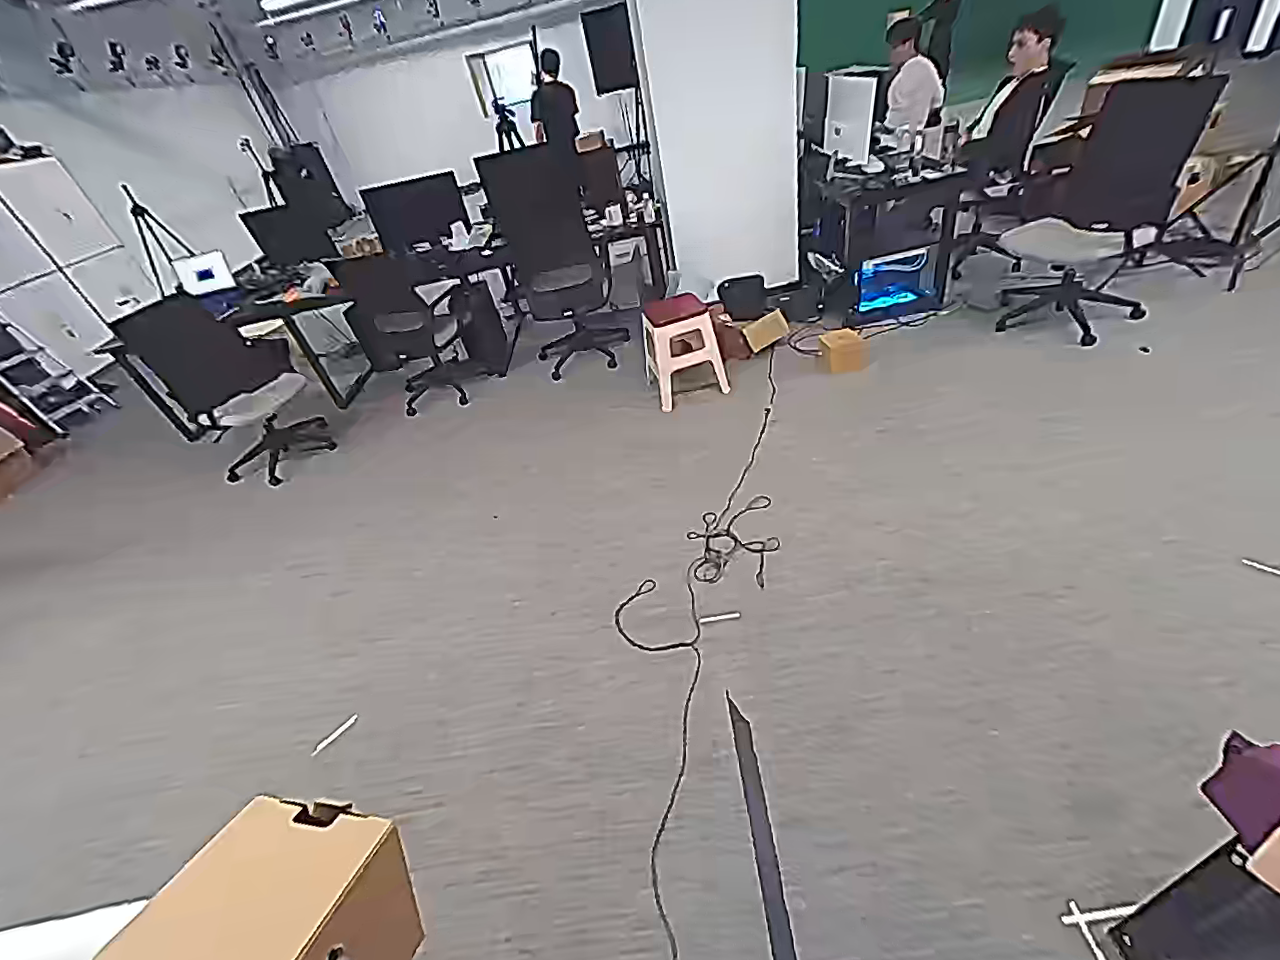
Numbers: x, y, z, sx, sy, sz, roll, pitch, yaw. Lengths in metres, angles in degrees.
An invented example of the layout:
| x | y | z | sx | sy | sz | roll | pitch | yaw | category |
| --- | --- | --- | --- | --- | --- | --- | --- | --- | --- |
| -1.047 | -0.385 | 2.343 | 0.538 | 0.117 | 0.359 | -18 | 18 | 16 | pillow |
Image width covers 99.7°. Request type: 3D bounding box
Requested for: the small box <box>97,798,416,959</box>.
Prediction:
| x | y | z | sx | sy | sz | roll | pitch | yaw | category |
| --- | --- | --- | --- | --- | --- | --- | --- | --- | --- |
| -0.328 | 0.435 | 0.488 | 0.168 | 0.176 | 0.179 | 2 | 18 | 13 | small box |
